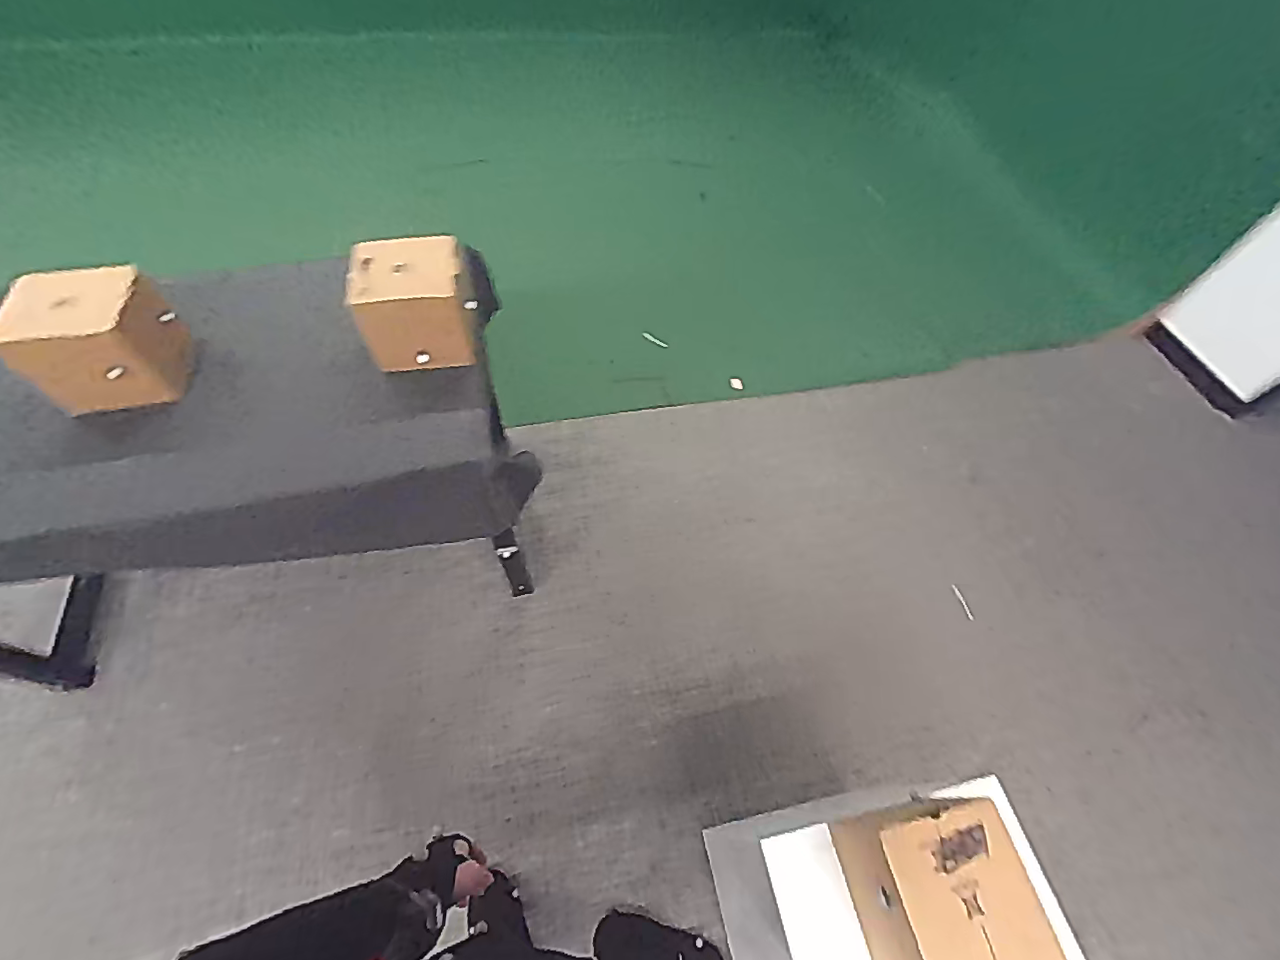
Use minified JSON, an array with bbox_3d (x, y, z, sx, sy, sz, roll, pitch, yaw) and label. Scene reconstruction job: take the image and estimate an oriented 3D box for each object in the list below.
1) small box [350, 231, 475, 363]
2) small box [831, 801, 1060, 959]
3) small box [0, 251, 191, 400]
[{"bbox_3d":[-0.406,-0.334,1.000,0.179,0.176,0.168,-5,60,-9],"label":"small box"},{"bbox_3d":[0.376,0.533,0.703,0.168,0.176,0.179,-8,62,-10],"label":"small box"},{"bbox_3d":[-0.910,-0.256,0.909,0.179,0.176,0.168,-10,59,-10],"label":"small box"}]
